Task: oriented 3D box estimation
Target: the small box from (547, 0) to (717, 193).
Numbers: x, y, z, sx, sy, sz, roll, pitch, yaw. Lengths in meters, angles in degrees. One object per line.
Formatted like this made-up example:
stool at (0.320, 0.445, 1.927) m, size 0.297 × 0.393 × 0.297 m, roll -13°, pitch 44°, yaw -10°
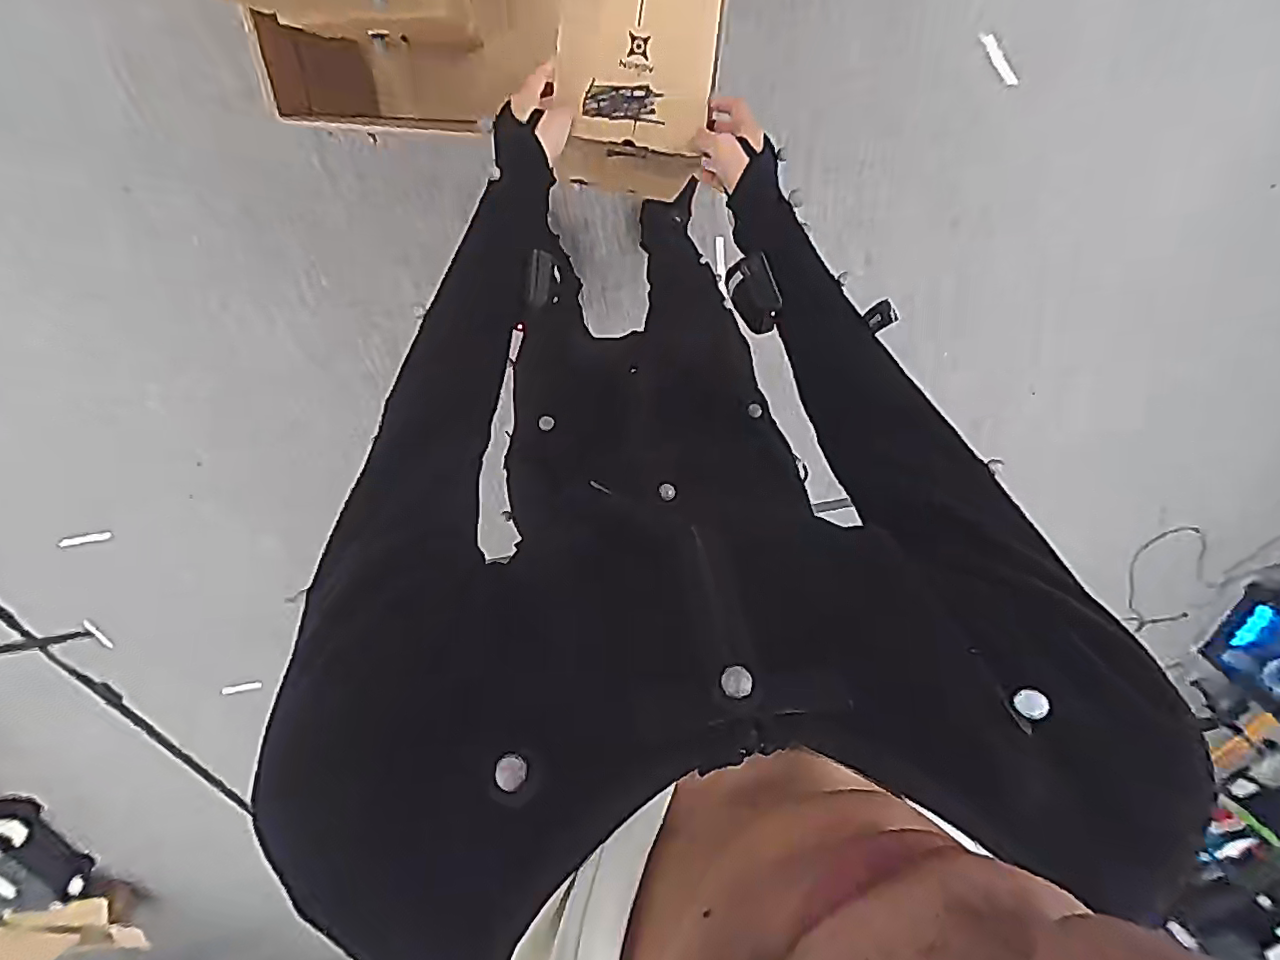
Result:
small box at (-0.018, -0.458, 0.632) m, size 0.168 × 0.176 × 0.179 m, roll 4°, pitch 102°, yaw -9°

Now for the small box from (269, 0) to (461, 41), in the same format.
small box at (-0.294, -0.578, 0.558) m, size 0.168 × 0.176 × 0.179 m, roll -7°, pitch 125°, yaw -5°

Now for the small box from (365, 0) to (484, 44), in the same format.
small box at (-0.307, -0.670, 0.693) m, size 0.179 × 0.176 × 0.168 m, roll -6°, pitch 126°, yaw -7°
